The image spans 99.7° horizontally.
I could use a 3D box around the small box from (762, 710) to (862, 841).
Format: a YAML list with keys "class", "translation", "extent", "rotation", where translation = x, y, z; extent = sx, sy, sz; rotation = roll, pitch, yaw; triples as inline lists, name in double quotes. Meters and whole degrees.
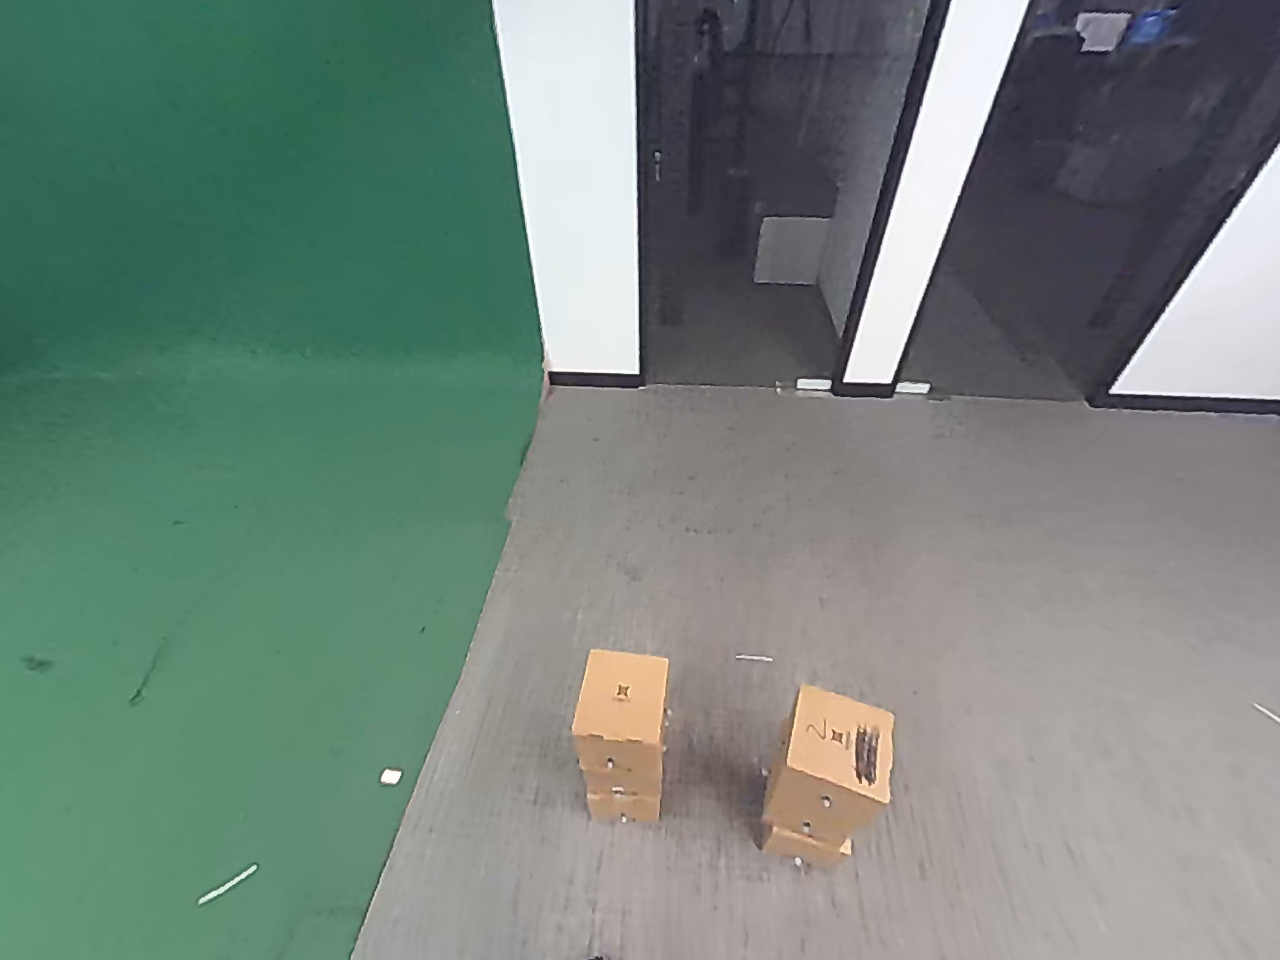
- class: "small box"
  translation: [0.363, 0.632, 1.153]
  extent: [0.168, 0.176, 0.179]
  rotation: [14, 45, 14]

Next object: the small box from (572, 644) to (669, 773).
- class: "small box"
  translation: [-0.034, 0.463, 1.099]
  extent: [0.168, 0.176, 0.179]
  rotation: [5, 43, 6]

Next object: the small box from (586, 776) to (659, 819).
- class: "small box"
  translation: [-0.038, 0.701, 1.320]
  extent: [0.168, 0.176, 0.179]
  rotation: [1, 43, 2]

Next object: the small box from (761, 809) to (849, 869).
- class: "small box"
  translation: [0.380, 0.761, 1.254]
  extent: [0.168, 0.176, 0.179]
  rotation: [10, 45, 12]

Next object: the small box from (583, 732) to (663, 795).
- class: "small box"
  translation: [-0.033, 0.579, 1.213]
  extent: [0.168, 0.176, 0.179]
  rotation: [1, 43, 2]
